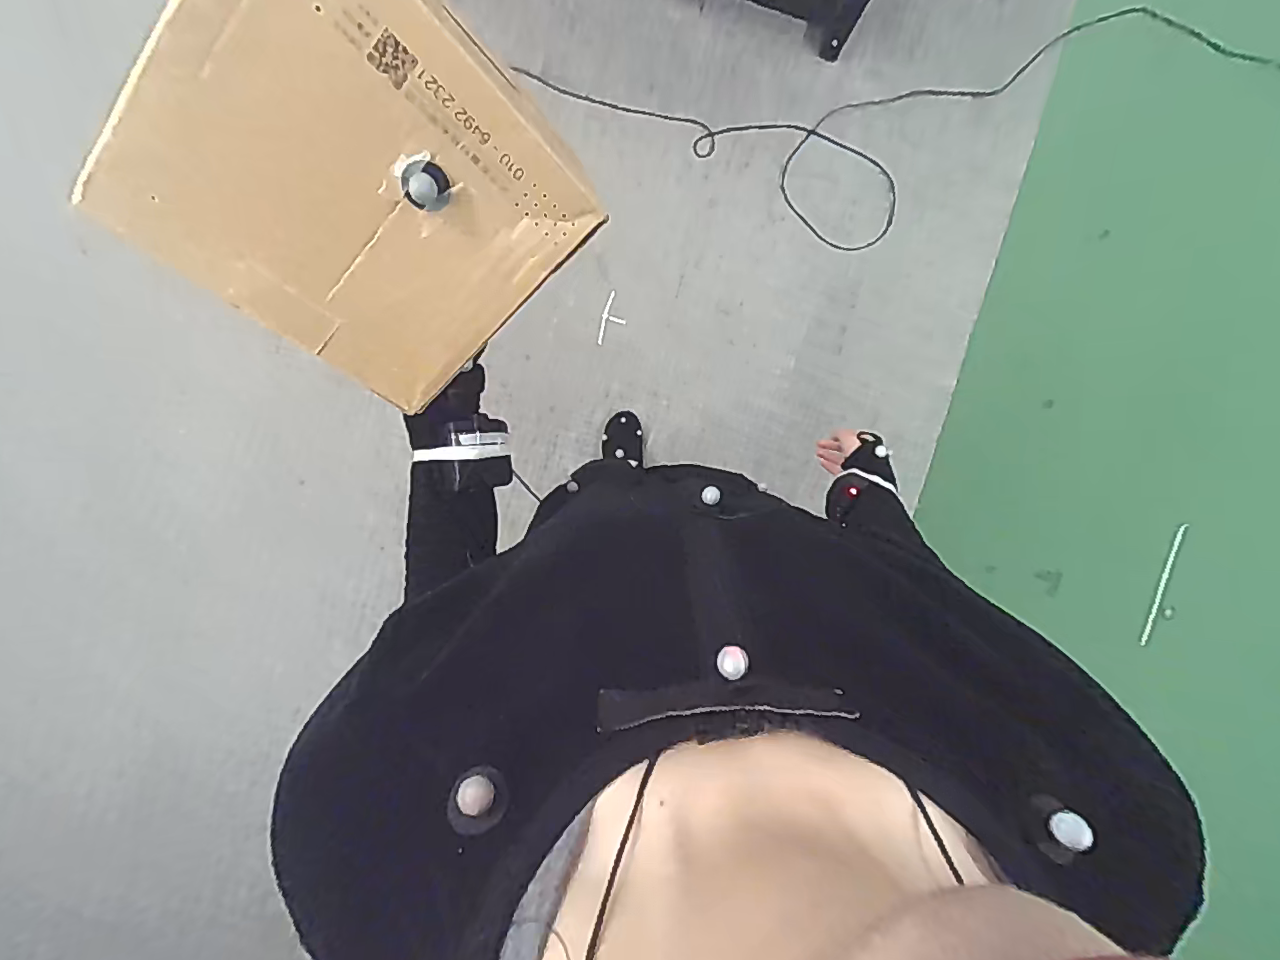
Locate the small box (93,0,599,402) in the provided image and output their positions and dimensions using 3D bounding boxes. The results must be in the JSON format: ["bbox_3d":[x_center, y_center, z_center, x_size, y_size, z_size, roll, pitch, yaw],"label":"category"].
[{"bbox_3d":[-0.142,-0.187,0.317,0.176,0.179,0.168,-39,128,20],"label":"small box"}]
